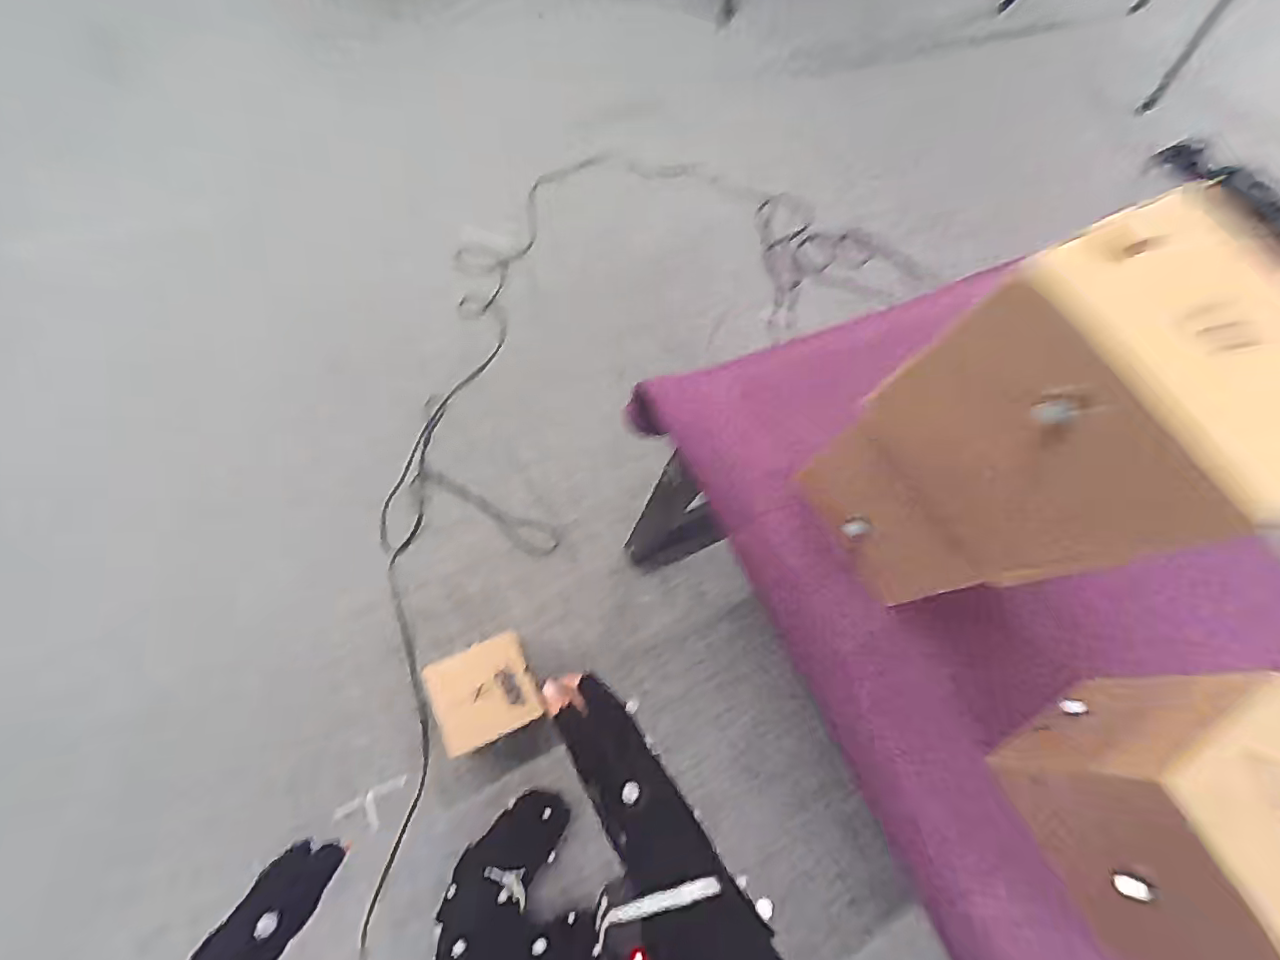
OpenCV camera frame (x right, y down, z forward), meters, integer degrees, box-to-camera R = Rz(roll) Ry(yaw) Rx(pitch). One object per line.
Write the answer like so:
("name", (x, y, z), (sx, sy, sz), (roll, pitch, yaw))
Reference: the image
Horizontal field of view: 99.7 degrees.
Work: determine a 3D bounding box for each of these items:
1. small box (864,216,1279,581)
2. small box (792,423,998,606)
("small box", (0.306, -0.042, 0.387), (0.168, 0.176, 0.179), (-26, 75, -19))
("small box", (0.290, 0.007, 0.542), (0.179, 0.176, 0.168), (-26, 76, -20))
